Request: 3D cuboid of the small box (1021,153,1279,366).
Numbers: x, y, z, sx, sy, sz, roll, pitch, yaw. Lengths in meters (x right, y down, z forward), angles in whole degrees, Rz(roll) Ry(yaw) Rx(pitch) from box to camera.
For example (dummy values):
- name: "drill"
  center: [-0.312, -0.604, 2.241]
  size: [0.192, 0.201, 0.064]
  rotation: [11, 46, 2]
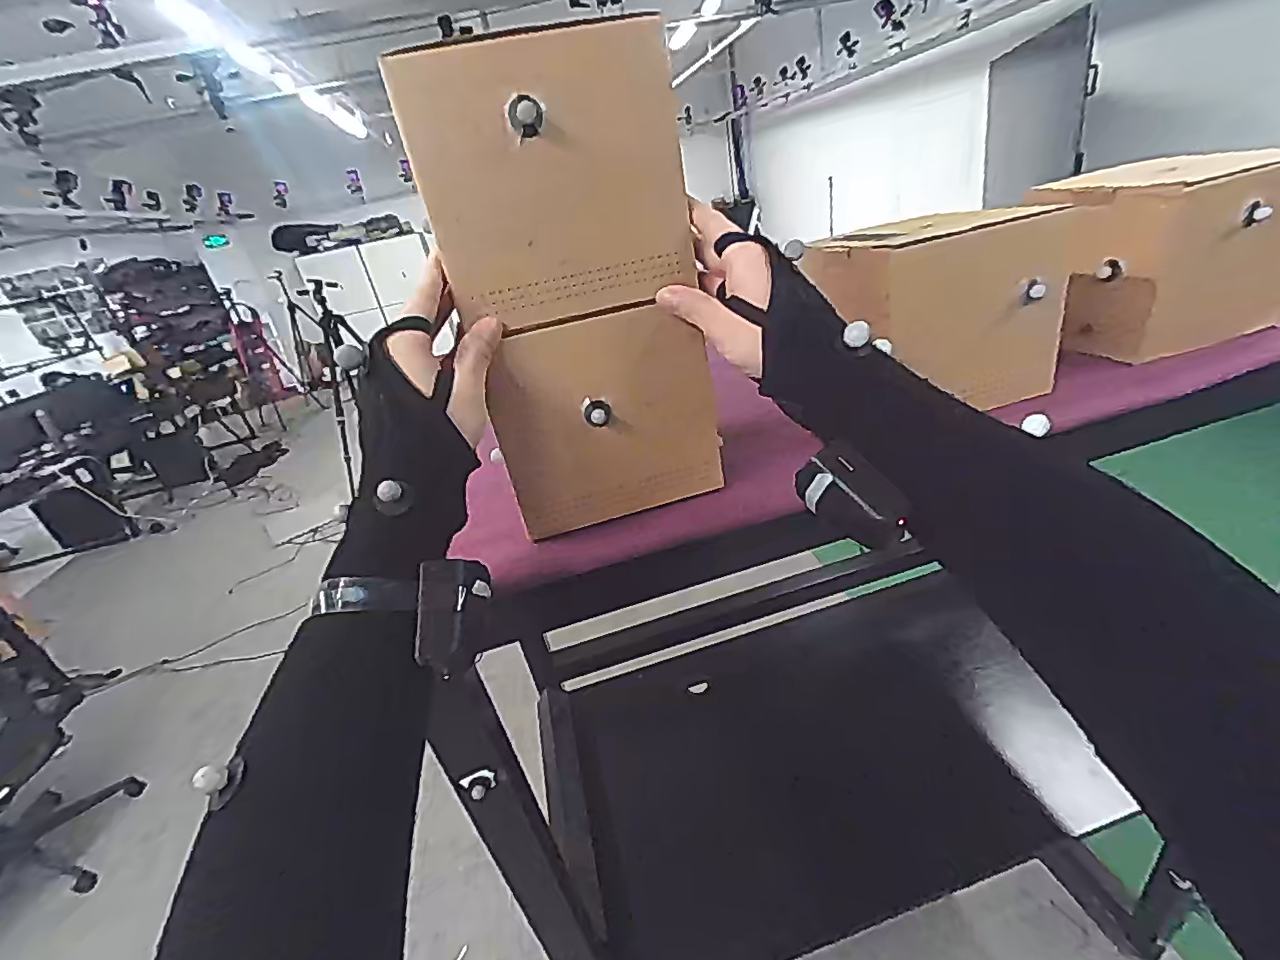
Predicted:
- name: "small box"
  center: [0.545, -0.232, 0.576]
  size: [0.179, 0.176, 0.168]
  rotation: [-15, 28, -5]

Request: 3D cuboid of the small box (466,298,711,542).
- name: "small box"
  center: [-0.043, -0.068, 0.495]
  size: [0.179, 0.176, 0.168]
  rotation: [-16, 25, -8]

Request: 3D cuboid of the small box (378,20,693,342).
- name: "small box"
  center: [-0.071, -0.216, 0.427]
  size: [0.179, 0.176, 0.168]
  rotation: [-14, 25, -7]
